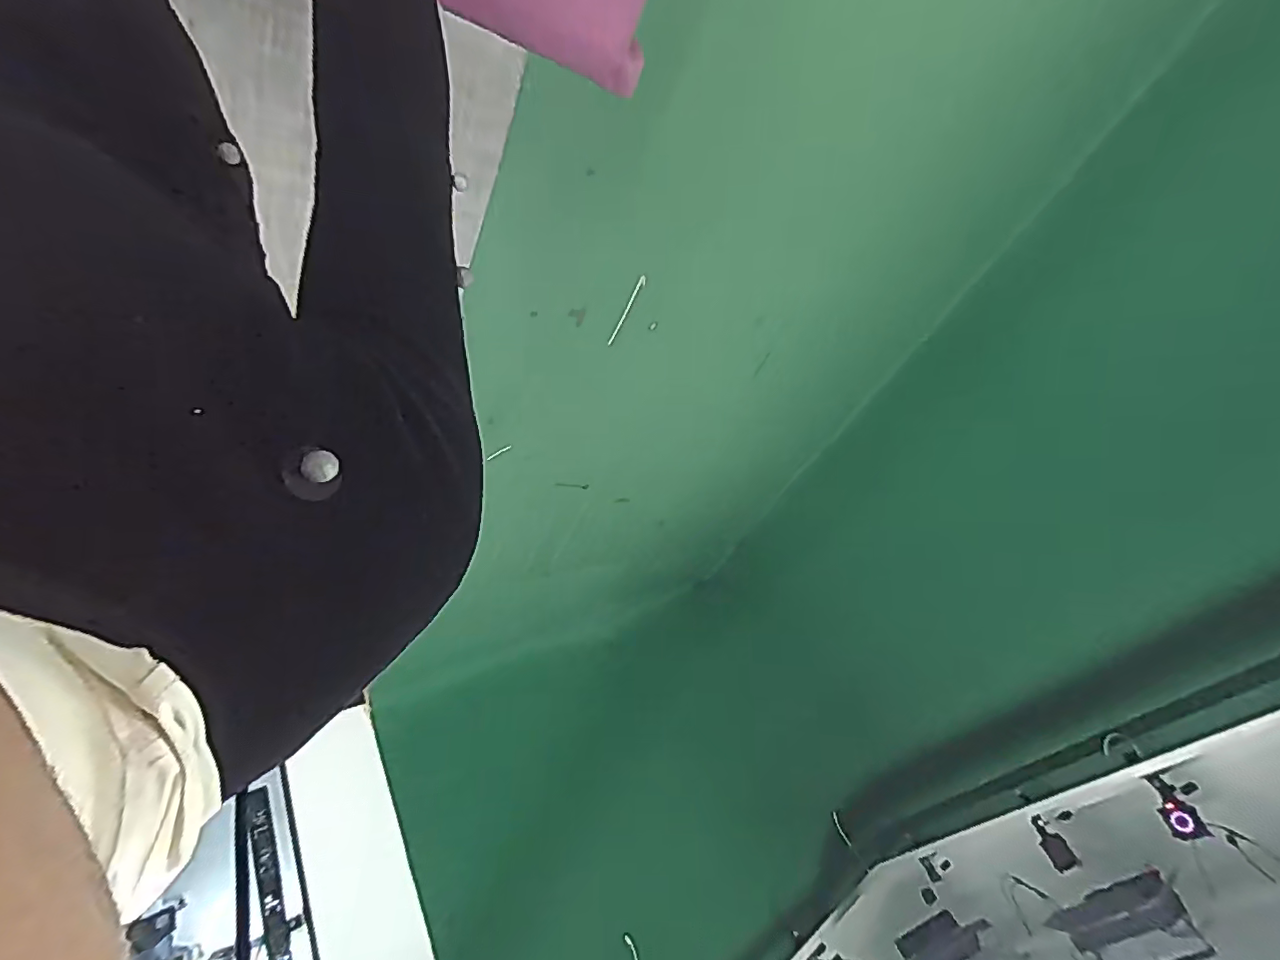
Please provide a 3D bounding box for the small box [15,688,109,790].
[{"bbox_3d":[-1.523,0.671,1.428,0.168,0.176,0.179,1,137,-45],"label":"small box"}]

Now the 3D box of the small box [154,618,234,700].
[{"bbox_3d":[-1.413,0.557,1.711,0.179,0.176,0.168,-2,138,-45],"label":"small box"}]

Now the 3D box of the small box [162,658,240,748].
[{"bbox_3d":[-1.325,0.667,1.629,0.168,0.176,0.179,-2,138,-44],"label":"small box"}]
